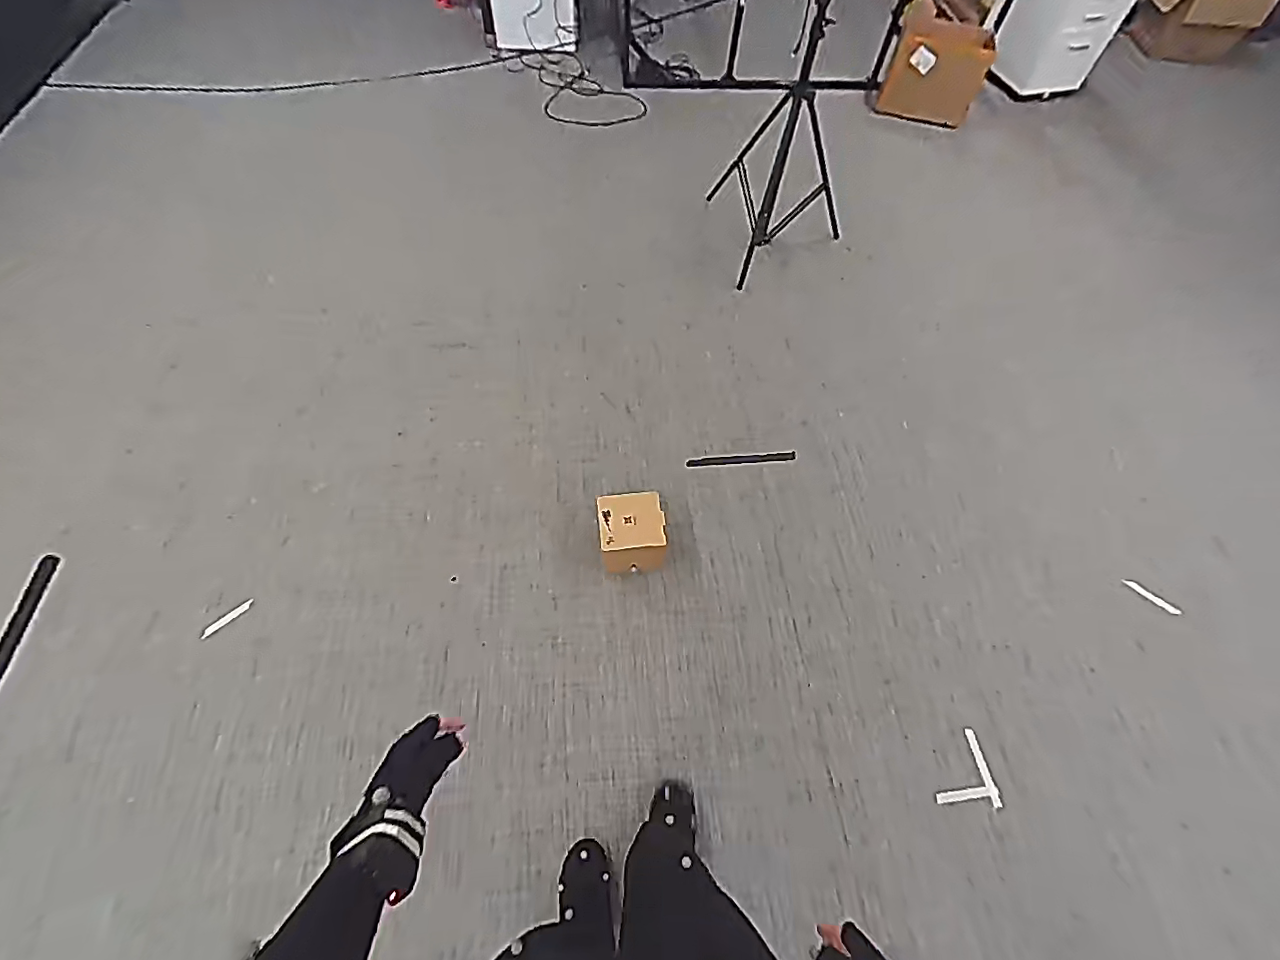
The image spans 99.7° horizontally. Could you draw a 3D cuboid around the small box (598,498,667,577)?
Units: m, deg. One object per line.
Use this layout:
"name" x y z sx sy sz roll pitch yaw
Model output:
"small box" -0.028 0.166 1.529 0.179 0.176 0.168 -4 60 -6
